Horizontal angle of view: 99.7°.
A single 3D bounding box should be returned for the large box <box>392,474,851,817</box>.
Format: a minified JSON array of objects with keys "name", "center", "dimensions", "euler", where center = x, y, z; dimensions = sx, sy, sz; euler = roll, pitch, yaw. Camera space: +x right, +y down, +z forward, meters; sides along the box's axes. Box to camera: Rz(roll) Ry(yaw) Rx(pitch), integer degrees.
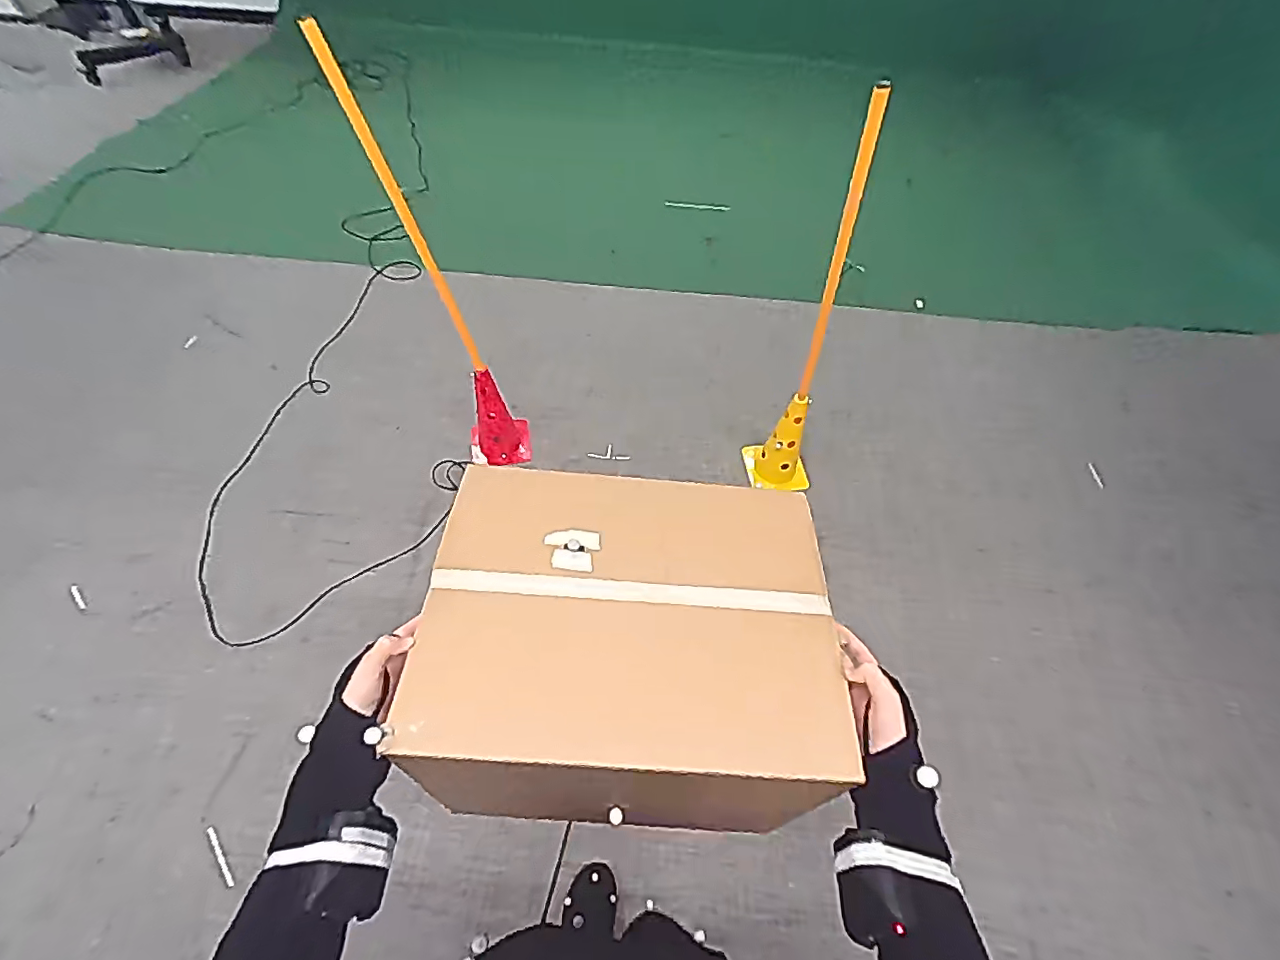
[{"name":"large box","center":[-0.017,0.216,0.670],"dimensions":[0.408,0.320,0.320],"euler":[4,50,-1]}]
